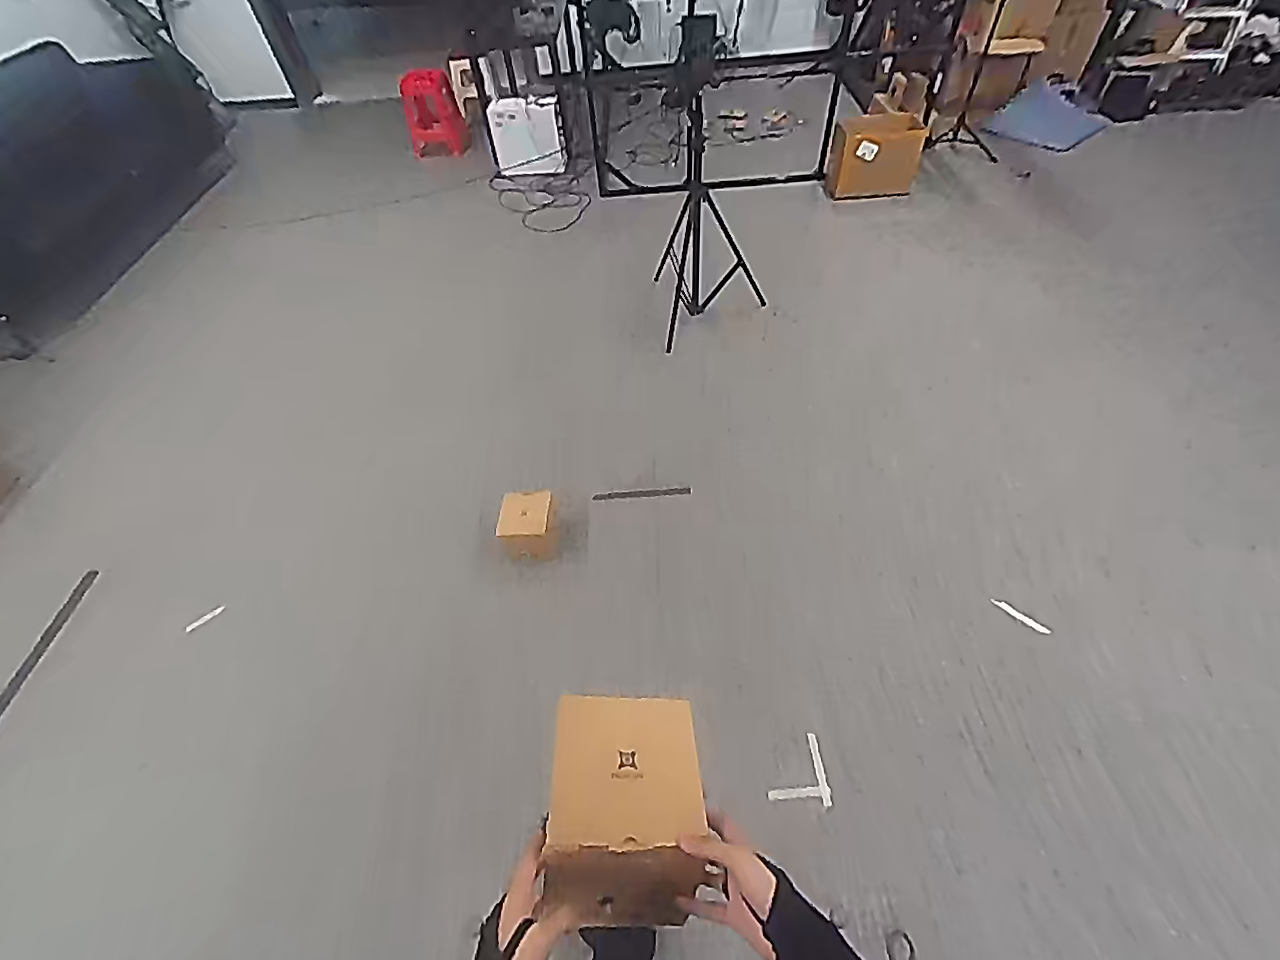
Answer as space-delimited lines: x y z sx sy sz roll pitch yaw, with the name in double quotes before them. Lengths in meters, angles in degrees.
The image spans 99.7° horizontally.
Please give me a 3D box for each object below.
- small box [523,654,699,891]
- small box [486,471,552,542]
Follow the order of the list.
"small box" -0.039 0.325 0.613 0.168 0.176 0.179 4 31 -7
"small box" -0.396 0.090 1.812 0.168 0.176 0.179 -2 52 4
